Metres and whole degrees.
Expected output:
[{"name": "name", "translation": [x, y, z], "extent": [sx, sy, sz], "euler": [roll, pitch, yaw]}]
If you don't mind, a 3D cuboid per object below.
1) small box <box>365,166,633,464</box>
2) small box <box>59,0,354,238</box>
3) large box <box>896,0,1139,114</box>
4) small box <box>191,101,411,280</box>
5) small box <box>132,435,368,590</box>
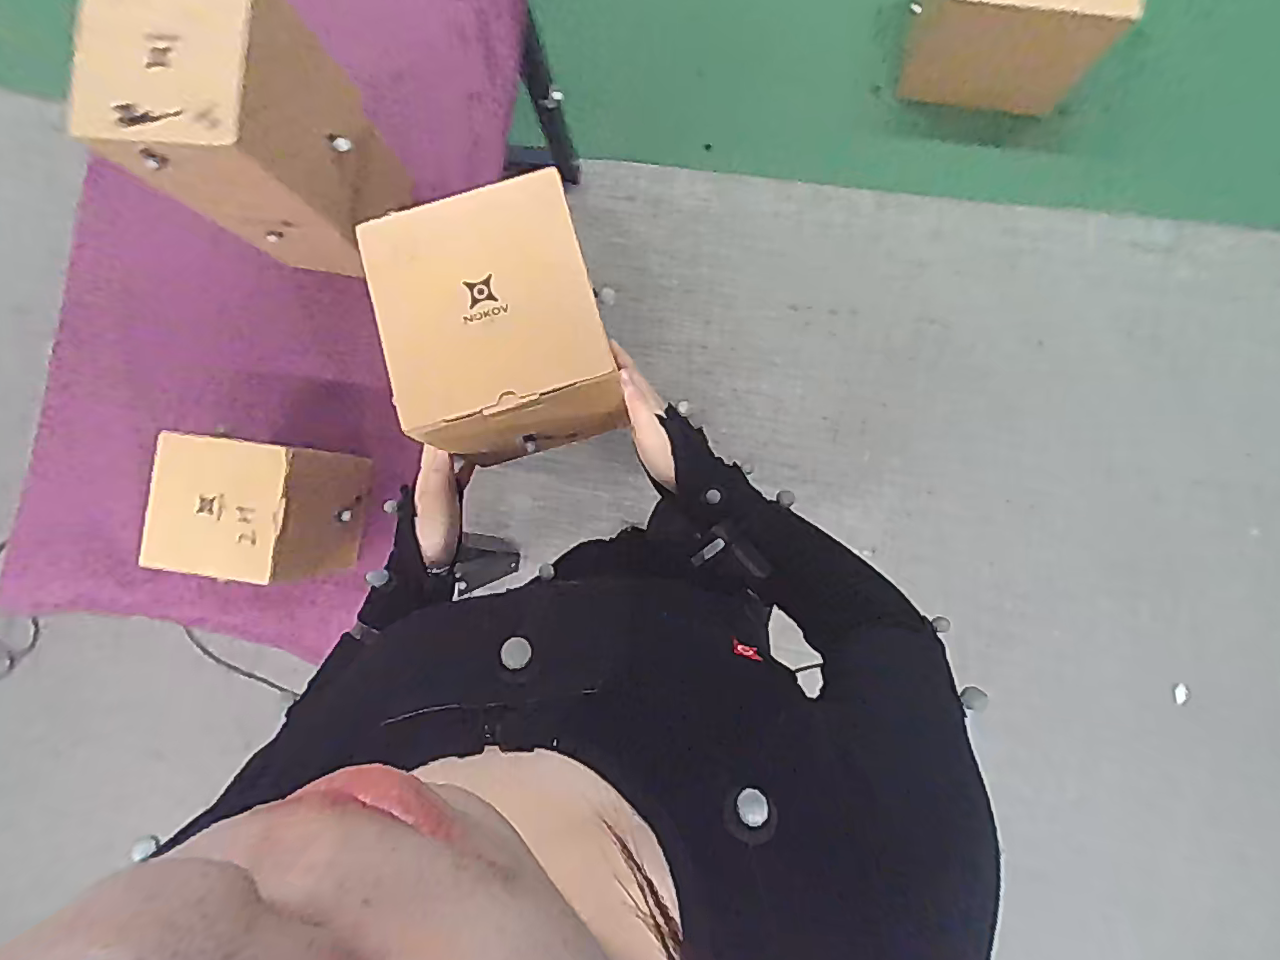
[{"name": "small box", "translation": [-0.107, -0.127, 0.479], "extent": [0.168, 0.176, 0.179], "euler": [-16, 83, 1]}, {"name": "small box", "translation": [-0.431, -0.386, 0.569], "extent": [0.168, 0.176, 0.179], "euler": [6, 88, 4]}, {"name": "large box", "translation": [0.909, -1.170, 1.332], "extent": [0.408, 0.320, 0.320], "euler": [10, 89, 4]}, {"name": "small box", "translation": [-0.446, -0.390, 0.734], "extent": [0.179, 0.176, 0.168], "euler": [10, 88, 4]}, {"name": "small box", "translation": [-0.501, 0.041, 0.716], "extent": [0.179, 0.176, 0.168], "euler": [7, 88, 6]}]
